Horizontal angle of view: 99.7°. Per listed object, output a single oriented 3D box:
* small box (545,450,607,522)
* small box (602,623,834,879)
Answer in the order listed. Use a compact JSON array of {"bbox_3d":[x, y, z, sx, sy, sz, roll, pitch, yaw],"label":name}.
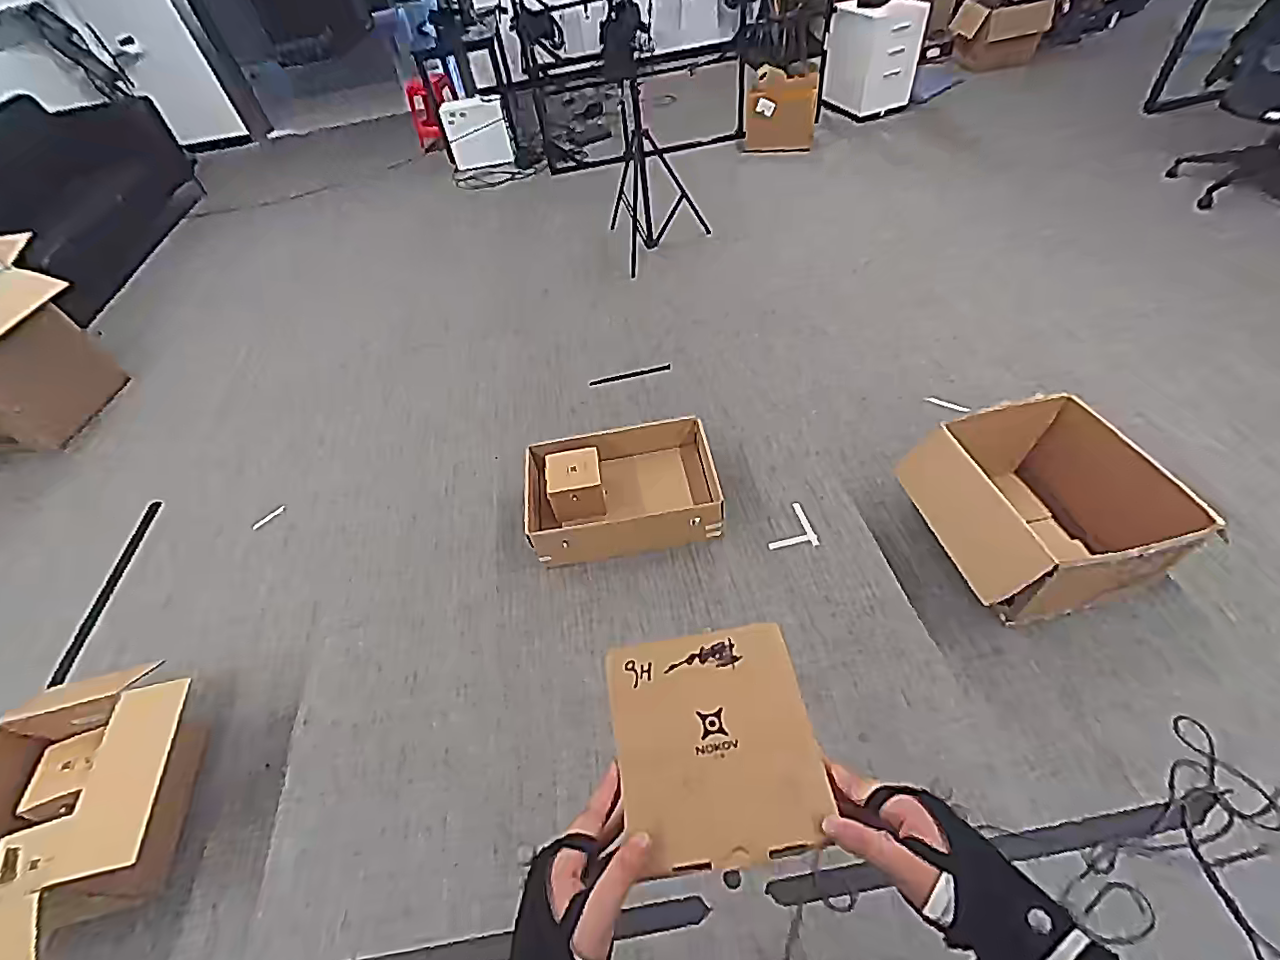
[{"bbox_3d":[-0.214,0.024,1.821,0.179,0.176,0.168,-10,51,-1],"label":"small box"},{"bbox_3d":[0.061,0.260,0.517,0.168,0.176,0.179,-8,54,-3],"label":"small box"}]
